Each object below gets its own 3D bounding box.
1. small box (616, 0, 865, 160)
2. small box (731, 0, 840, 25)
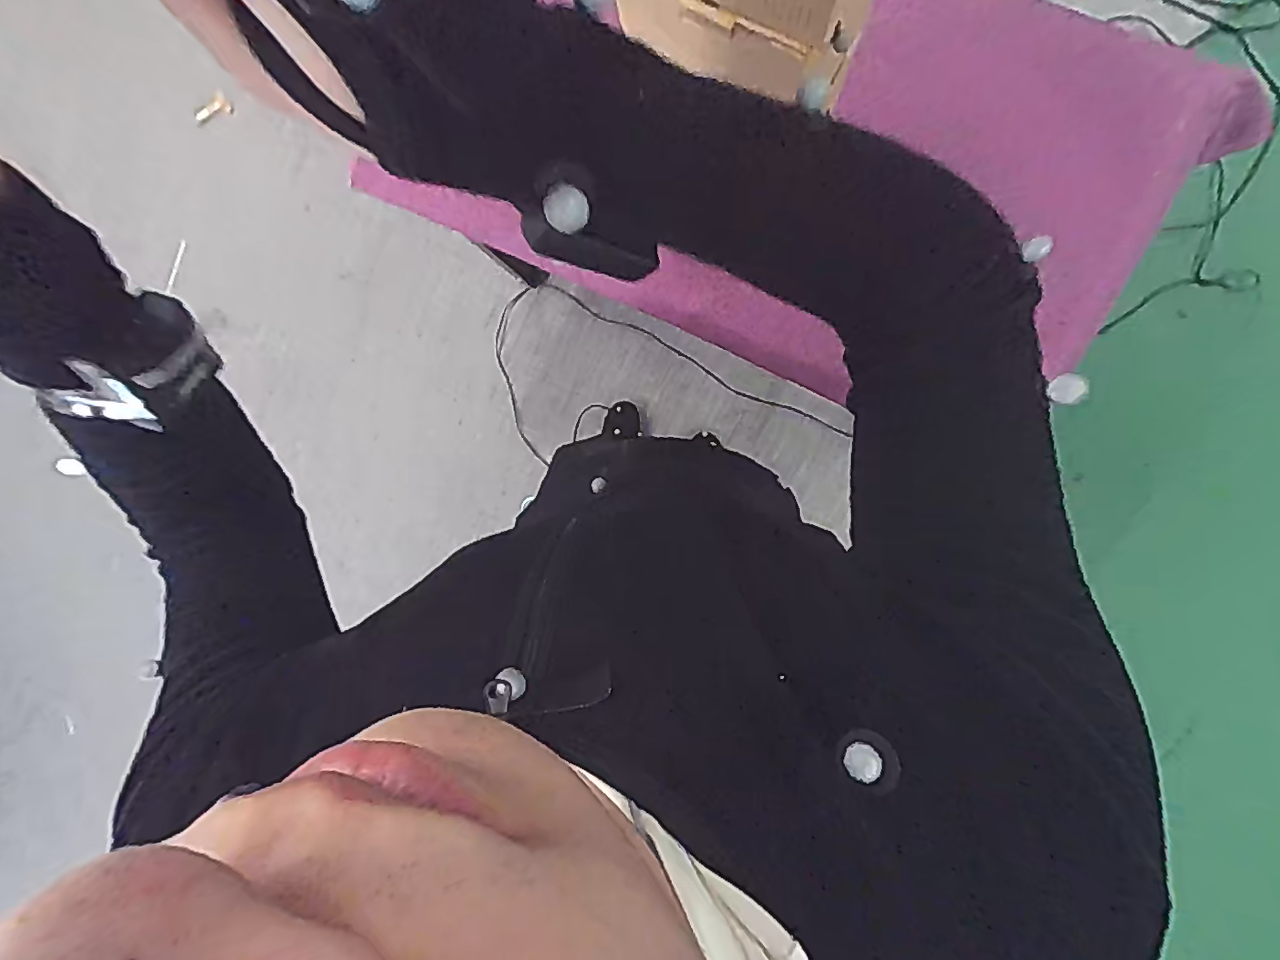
[{"bbox_3d":[0.097,-0.420,0.460,0.168,0.176,0.179,30,97,4],"label":"small box"},{"bbox_3d":[0.077,-0.413,0.296,0.179,0.176,0.168,28,96,4],"label":"small box"}]
